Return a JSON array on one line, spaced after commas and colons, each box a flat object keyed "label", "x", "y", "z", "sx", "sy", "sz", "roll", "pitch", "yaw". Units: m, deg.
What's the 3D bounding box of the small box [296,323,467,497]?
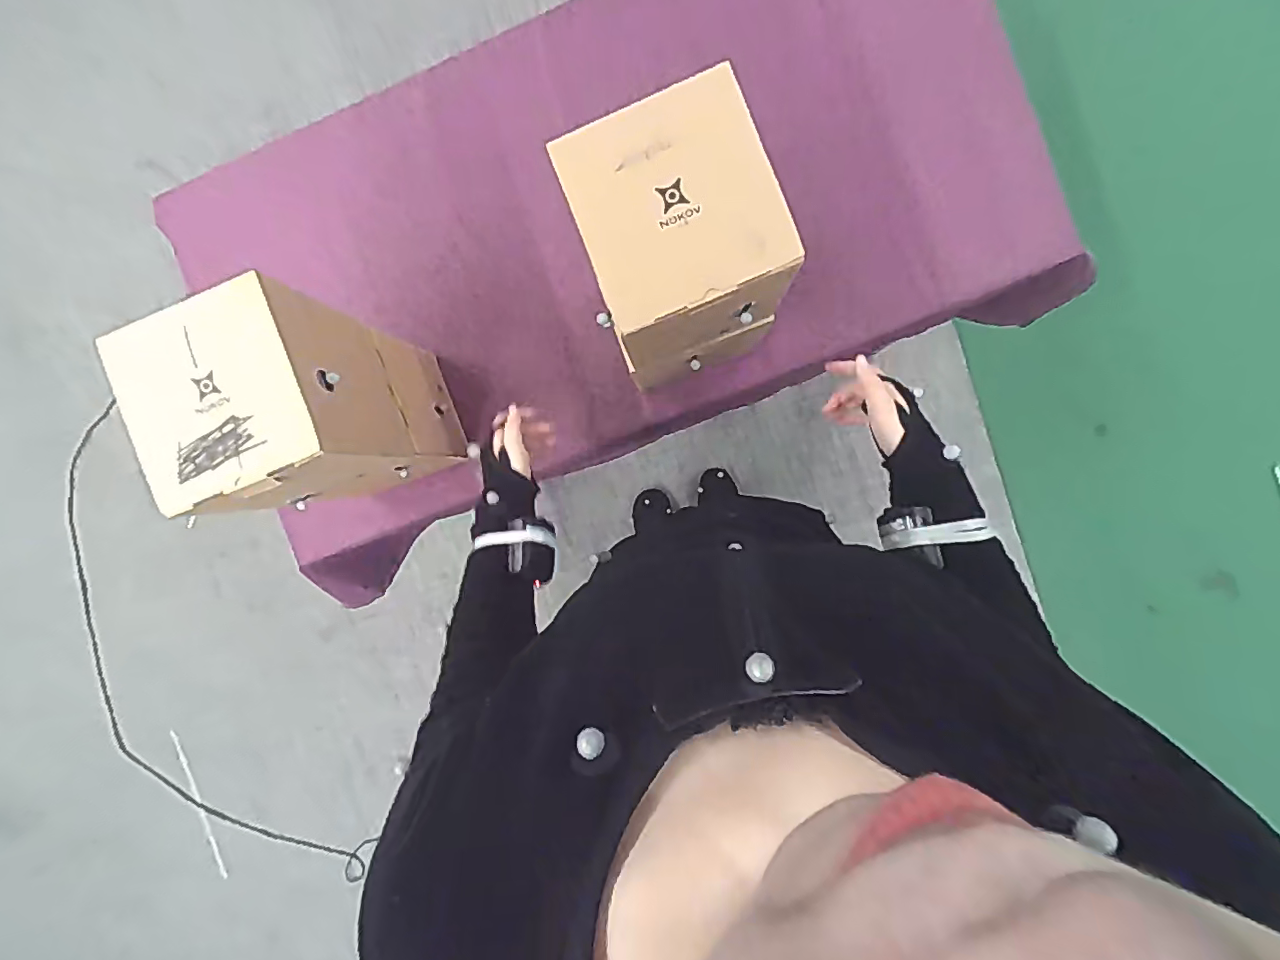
[{"label": "small box", "x": -0.365, "y": -0.083, "z": 0.725, "sx": 0.179, "sy": 0.176, "sz": 0.168, "roll": -21, "pitch": 90, "yaw": 3}]

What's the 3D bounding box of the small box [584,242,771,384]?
[{"label": "small box", "x": 0.048, "y": -0.233, "z": 0.689, "sx": 0.179, "sy": 0.176, "sz": 0.168, "roll": -19, "pitch": 91, "yaw": 4}]

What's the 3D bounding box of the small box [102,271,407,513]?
[{"label": "small box", "x": -0.375, "y": -0.080, "z": 0.562, "sx": 0.168, "sy": 0.176, "sz": 0.179, "roll": -21, "pitch": 89, "yaw": 3}]

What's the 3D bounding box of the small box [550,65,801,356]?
[{"label": "small box", "x": 0.035, "y": -0.233, "z": 0.527, "sx": 0.168, "sy": 0.176, "sz": 0.179, "roll": -21, "pitch": 90, "yaw": 4}]
